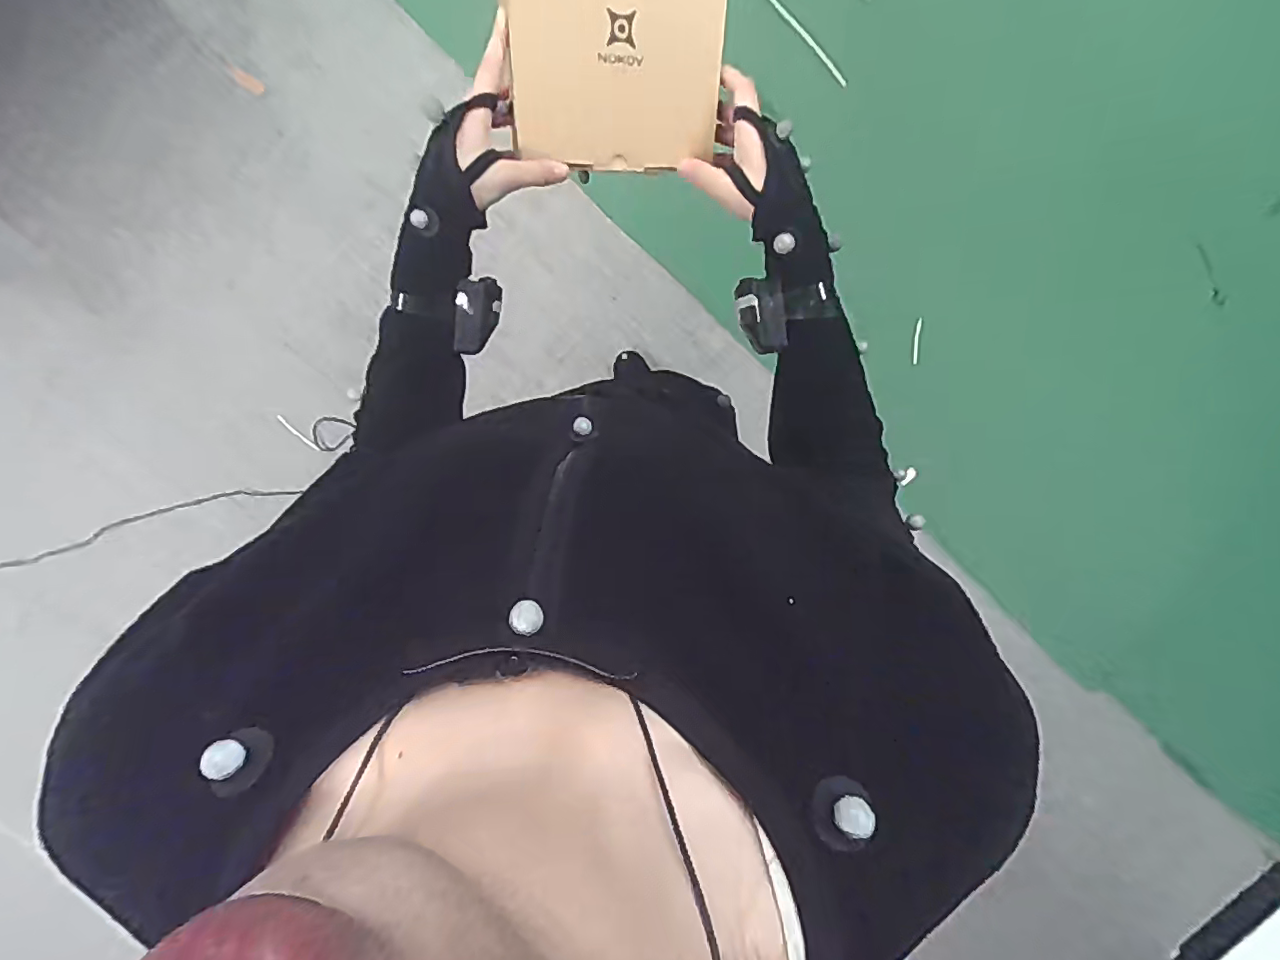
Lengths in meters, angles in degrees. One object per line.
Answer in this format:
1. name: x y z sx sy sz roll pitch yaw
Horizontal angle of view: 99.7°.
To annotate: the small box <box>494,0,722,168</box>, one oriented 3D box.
1. small box: -0.037 -0.375 0.468 0.168 0.176 0.179 -5 120 -12
